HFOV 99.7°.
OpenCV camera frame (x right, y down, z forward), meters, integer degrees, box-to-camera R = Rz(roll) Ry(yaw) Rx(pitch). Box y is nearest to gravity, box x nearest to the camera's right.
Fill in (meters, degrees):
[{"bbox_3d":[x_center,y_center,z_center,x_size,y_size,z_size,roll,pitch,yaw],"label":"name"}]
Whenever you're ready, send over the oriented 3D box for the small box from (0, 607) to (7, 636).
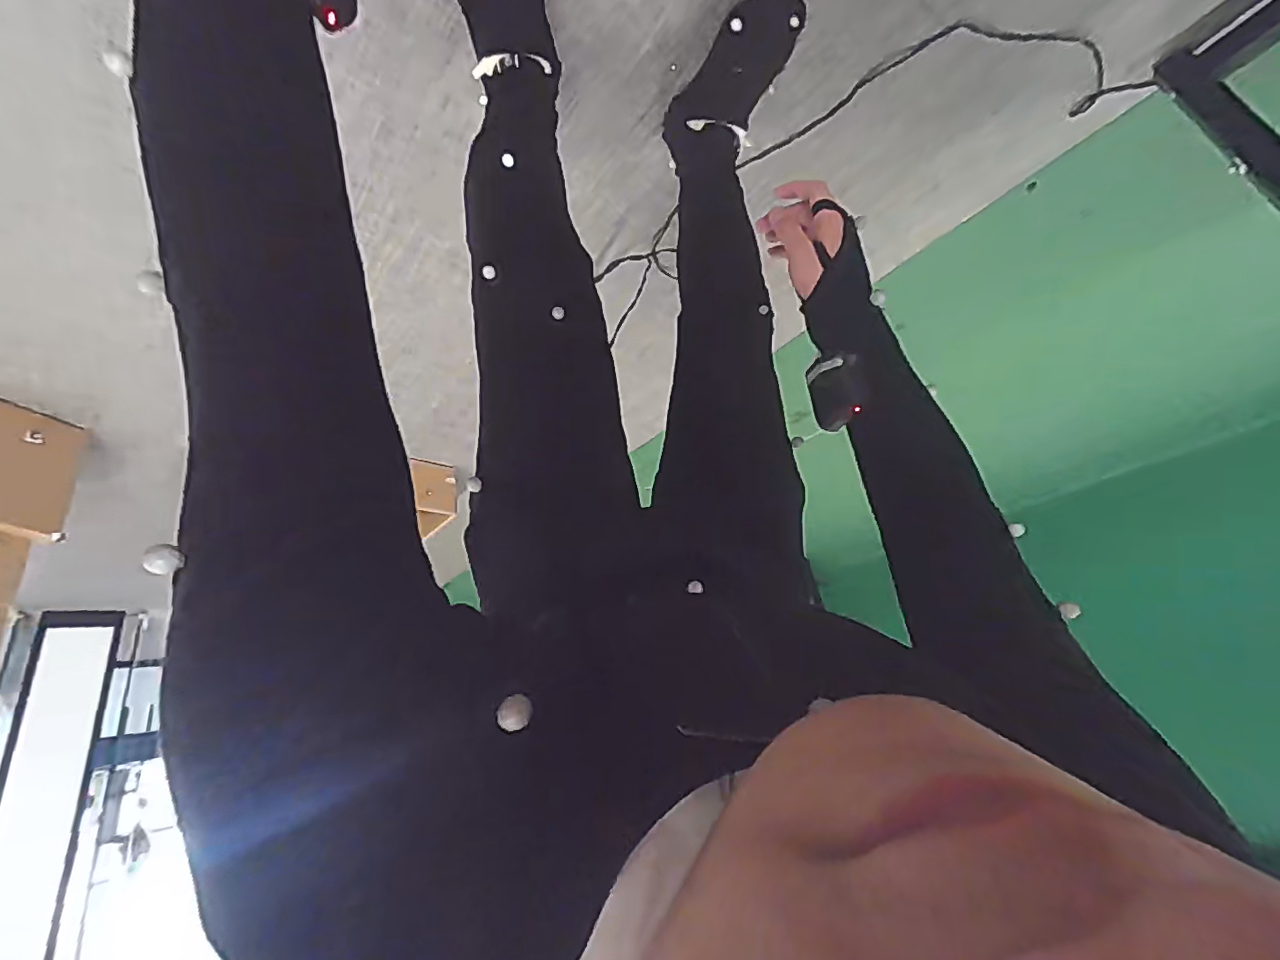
[{"bbox_3d":[-1.517,0.353,1.137,0.179,0.176,0.168,-14,155,2],"label":"small box"}]
